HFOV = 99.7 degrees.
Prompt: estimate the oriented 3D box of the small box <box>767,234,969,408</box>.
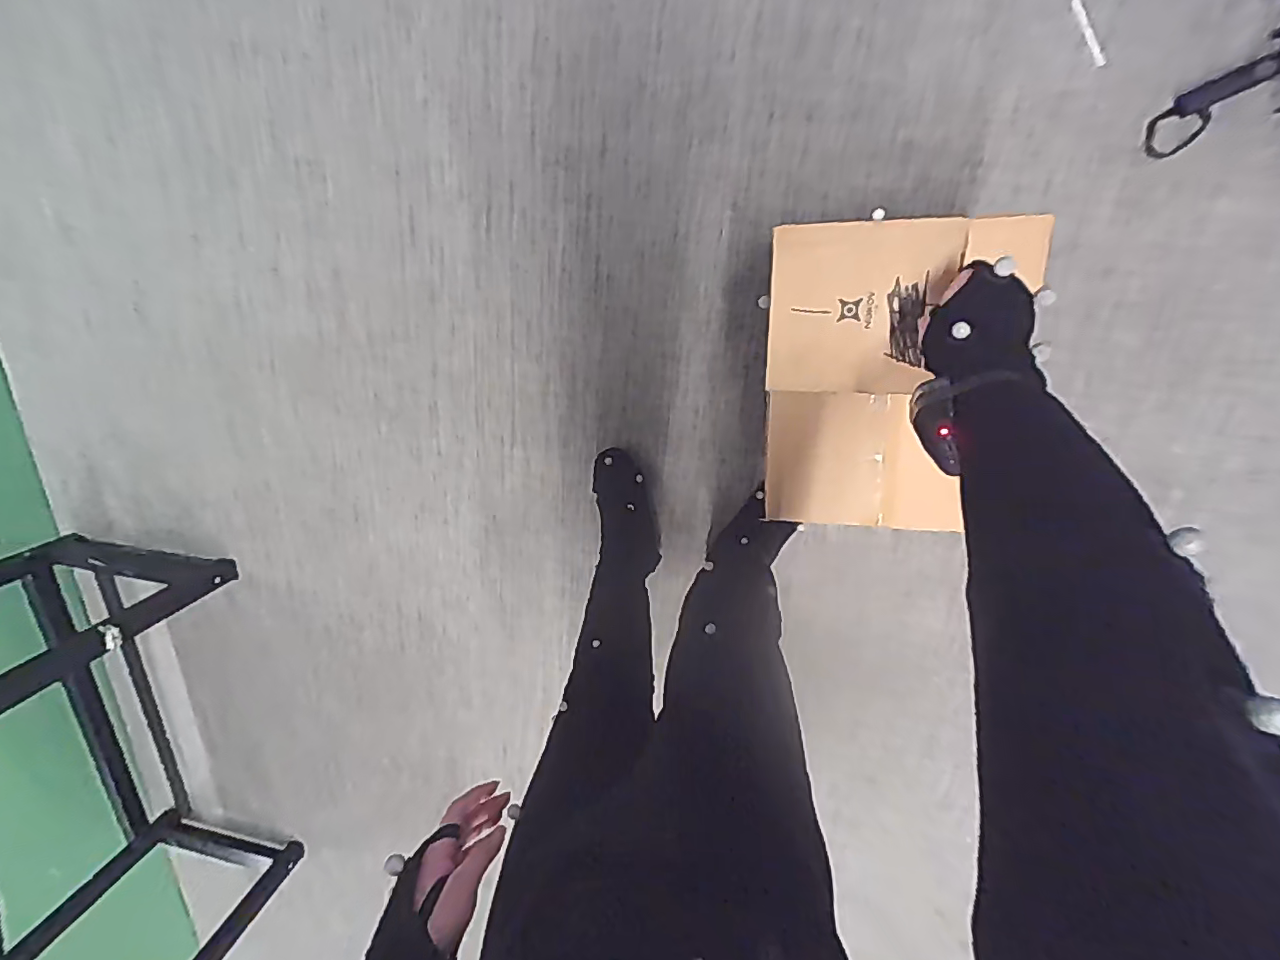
[{"bbox_3d":[0.242,-0.182,0.614,0.179,0.176,0.168,4,109,16],"label":"small box"}]
